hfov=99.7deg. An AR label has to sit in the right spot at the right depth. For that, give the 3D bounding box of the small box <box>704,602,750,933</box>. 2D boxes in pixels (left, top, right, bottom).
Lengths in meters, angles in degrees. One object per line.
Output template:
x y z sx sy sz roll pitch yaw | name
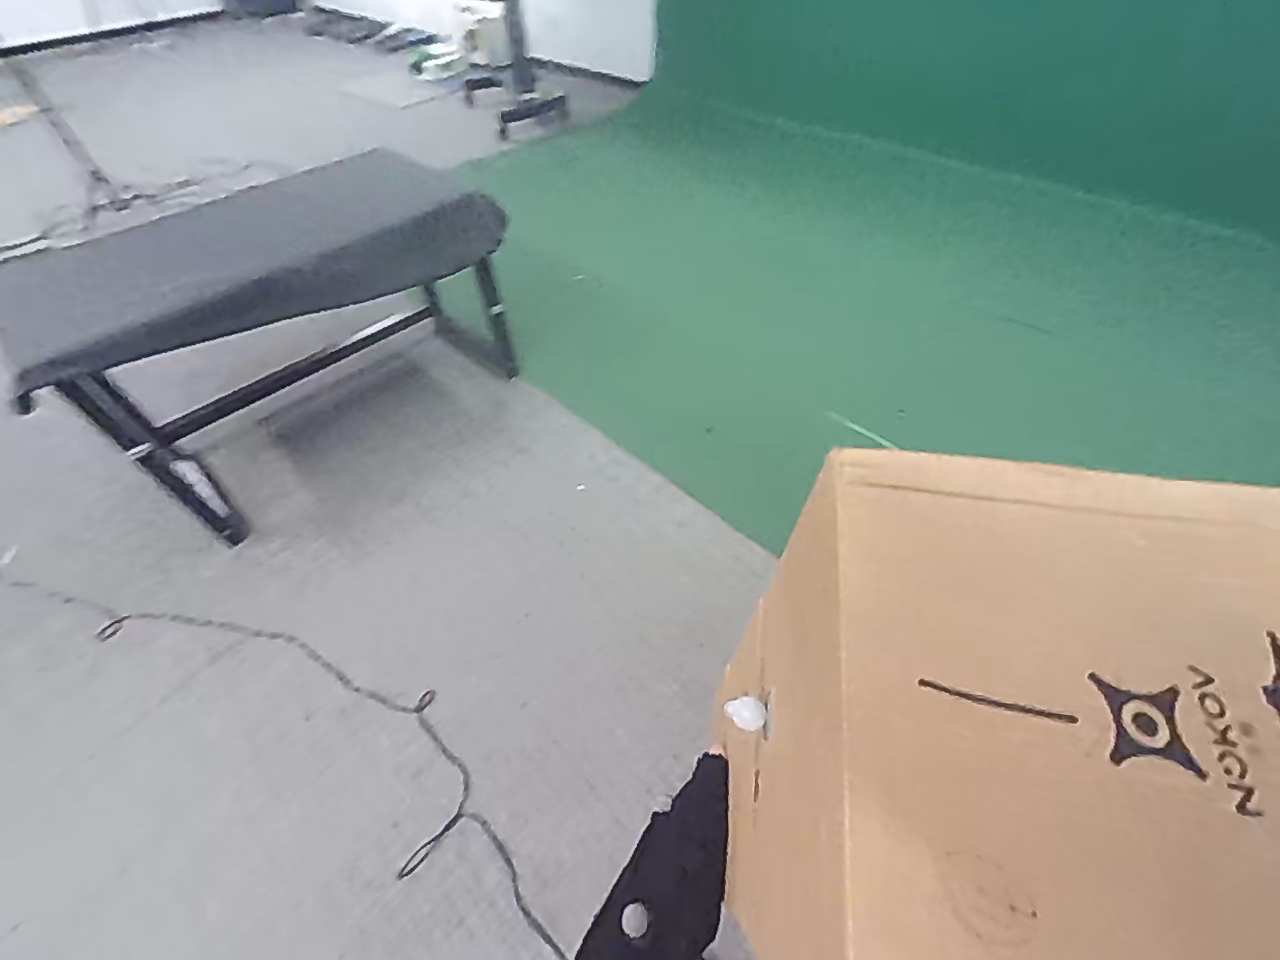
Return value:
0.139 0.192 0.360 0.179 0.176 0.168 4 59 5 | small box
